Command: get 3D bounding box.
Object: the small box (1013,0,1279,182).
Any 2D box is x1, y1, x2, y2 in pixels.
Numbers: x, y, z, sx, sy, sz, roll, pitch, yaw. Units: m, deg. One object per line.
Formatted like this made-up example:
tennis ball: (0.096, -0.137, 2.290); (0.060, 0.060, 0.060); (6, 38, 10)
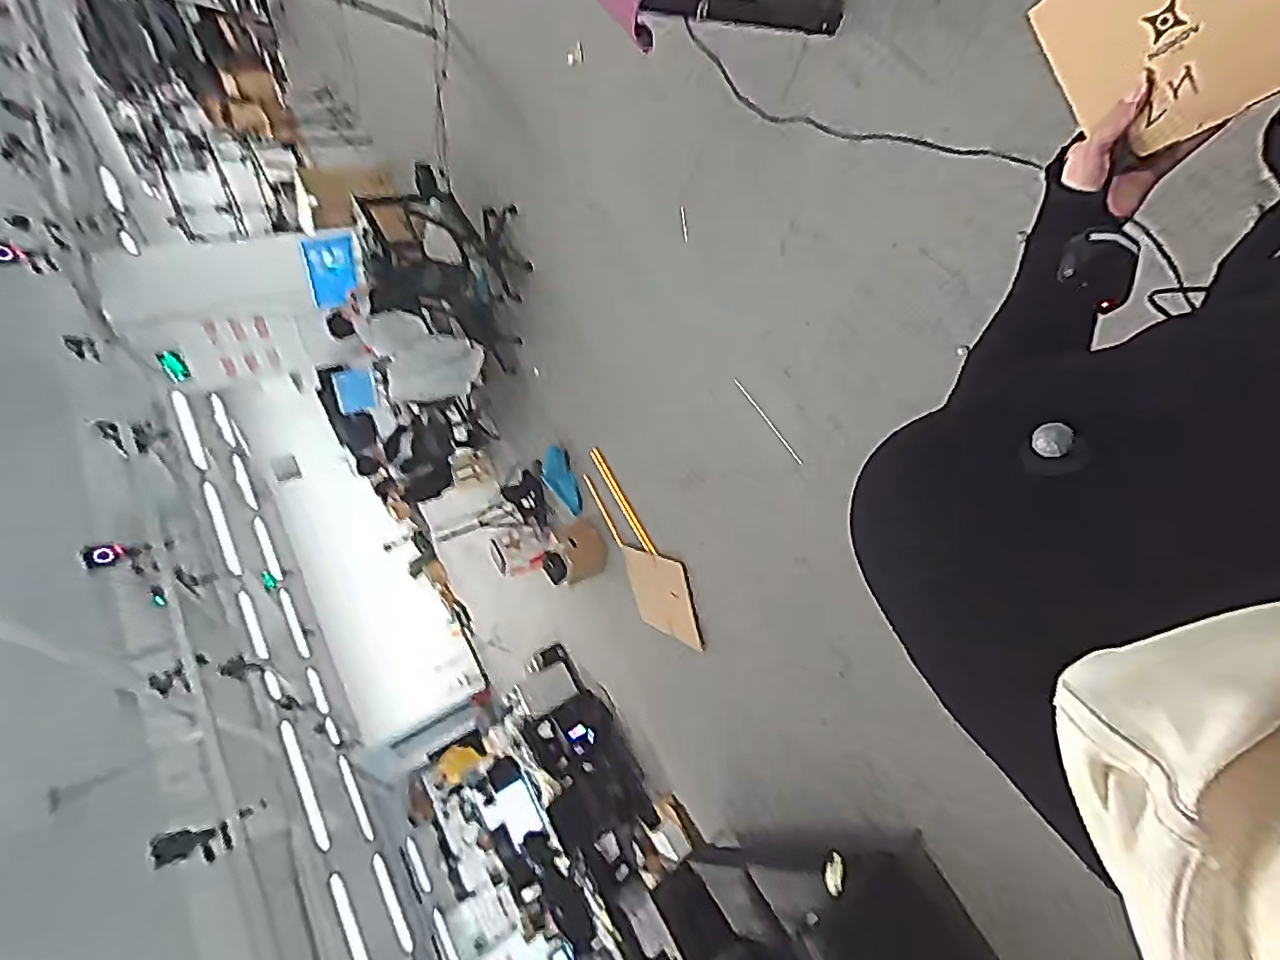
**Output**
small box: (0.483, -0.410, 0.463); (0.179, 0.176, 0.168); (54, 170, -9)
